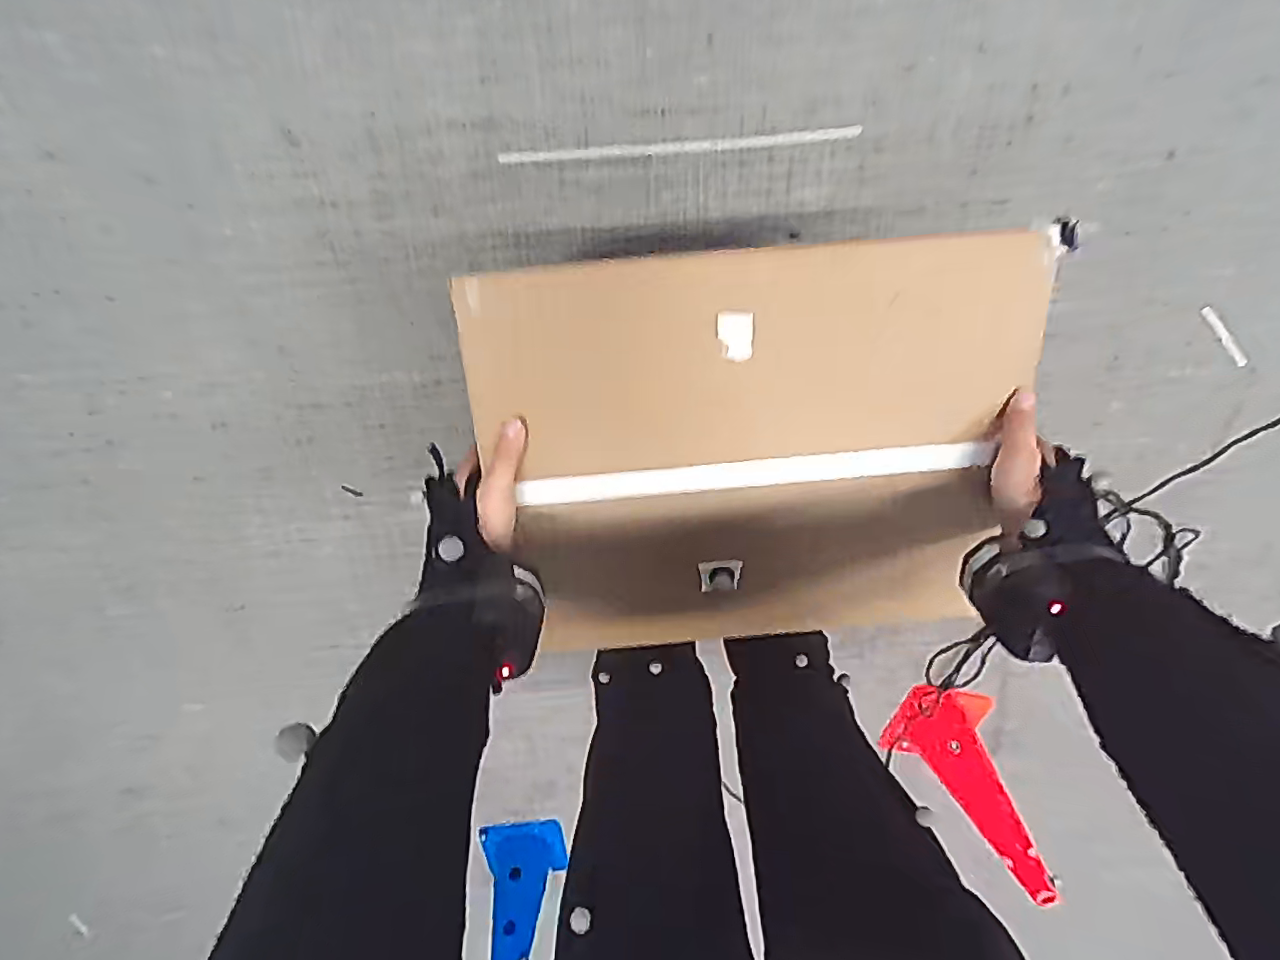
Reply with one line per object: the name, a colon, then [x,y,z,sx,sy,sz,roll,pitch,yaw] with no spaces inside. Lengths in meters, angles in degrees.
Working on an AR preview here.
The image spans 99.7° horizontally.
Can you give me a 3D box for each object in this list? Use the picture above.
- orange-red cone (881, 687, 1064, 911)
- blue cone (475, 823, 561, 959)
orange-red cone: [0.658,0.607,1.029,0.199,0.360,0.198,14,115,-10]
blue cone: [-0.290,0.976,1.178,0.192,0.380,0.193,-4,114,0]
